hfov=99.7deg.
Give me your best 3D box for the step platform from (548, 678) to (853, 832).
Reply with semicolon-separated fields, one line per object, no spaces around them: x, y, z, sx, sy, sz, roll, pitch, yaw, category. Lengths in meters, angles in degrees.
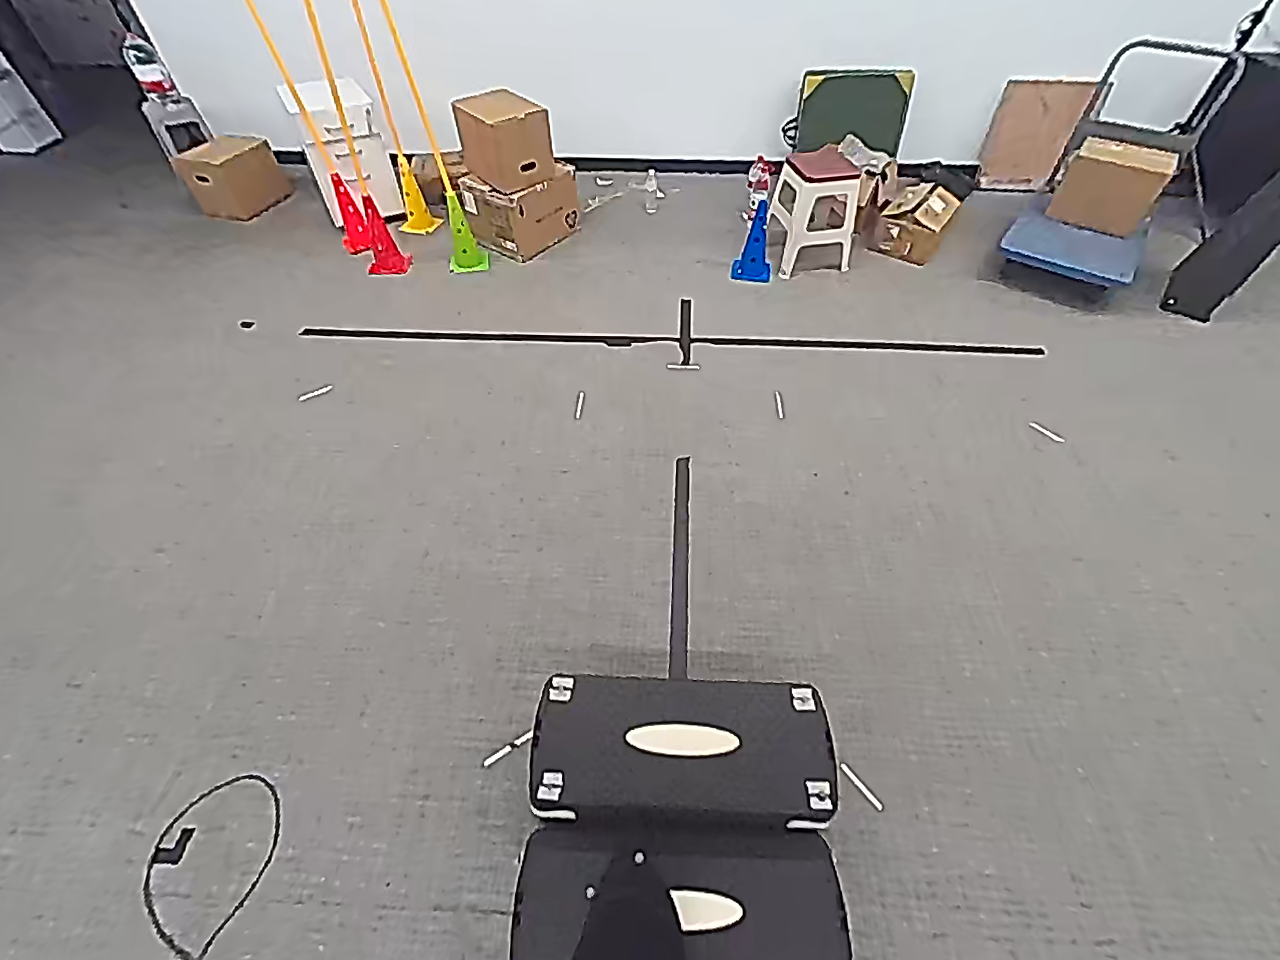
0.130;0.636;1.264;0.684;0.204;0.286;2;50;0;step platform
